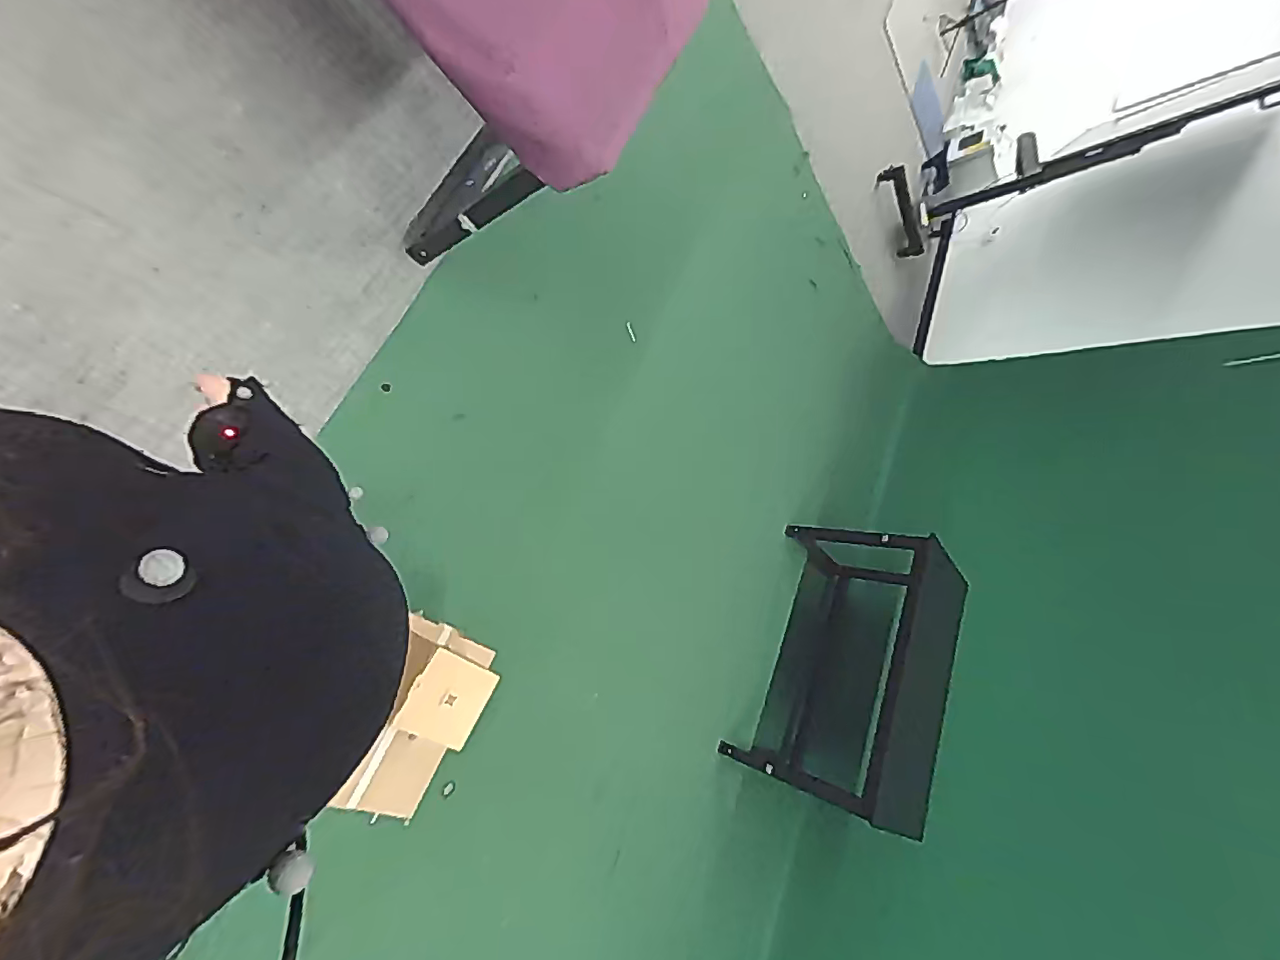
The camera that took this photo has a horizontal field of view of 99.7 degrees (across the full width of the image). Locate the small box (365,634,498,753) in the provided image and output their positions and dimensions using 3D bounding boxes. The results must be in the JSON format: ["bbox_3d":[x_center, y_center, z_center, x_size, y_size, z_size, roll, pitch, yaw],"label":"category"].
[{"bbox_3d":[-0.447,0.450,1.160,0.179,0.176,0.168,44,63,-35],"label":"small box"}]

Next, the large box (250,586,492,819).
[{"bbox_3d":[-0.642,0.520,1.312,0.320,0.320,0.408,42,64,-36],"label":"large box"}]
